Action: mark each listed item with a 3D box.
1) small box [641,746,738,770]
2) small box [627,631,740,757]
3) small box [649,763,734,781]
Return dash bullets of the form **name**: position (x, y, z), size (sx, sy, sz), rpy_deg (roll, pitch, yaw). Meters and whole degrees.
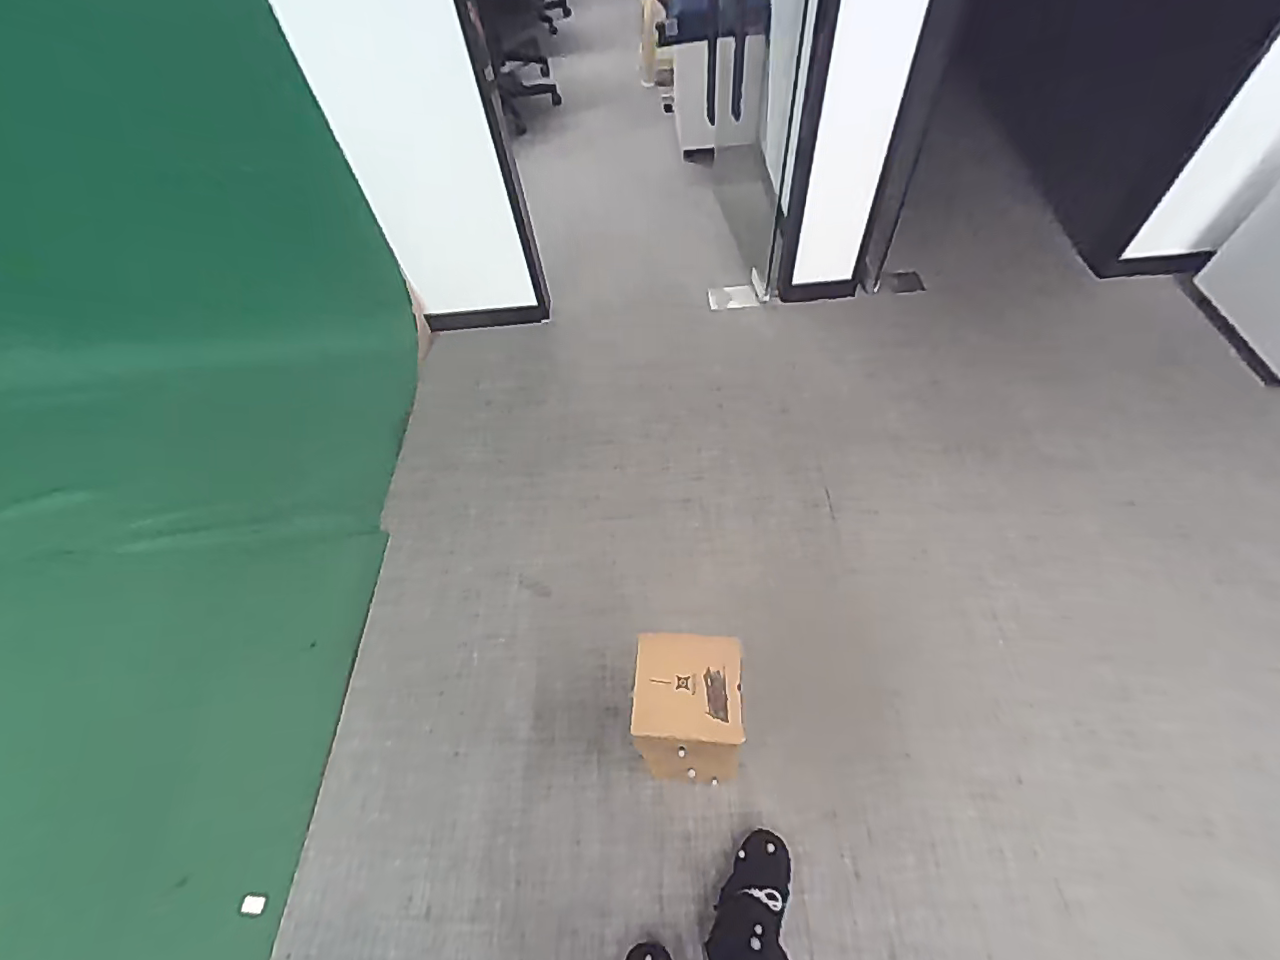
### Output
- **small box**: position (0.097, 0.472, 1.076), size (0.179, 0.176, 0.168), rpy_deg (1, 55, 5)
- **small box**: position (0.081, 0.376, 0.943), size (0.179, 0.176, 0.168), rpy_deg (1, 55, 8)
- **small box**: position (0.113, 0.569, 1.207), size (0.179, 0.176, 0.168), rpy_deg (-2, 54, 5)
